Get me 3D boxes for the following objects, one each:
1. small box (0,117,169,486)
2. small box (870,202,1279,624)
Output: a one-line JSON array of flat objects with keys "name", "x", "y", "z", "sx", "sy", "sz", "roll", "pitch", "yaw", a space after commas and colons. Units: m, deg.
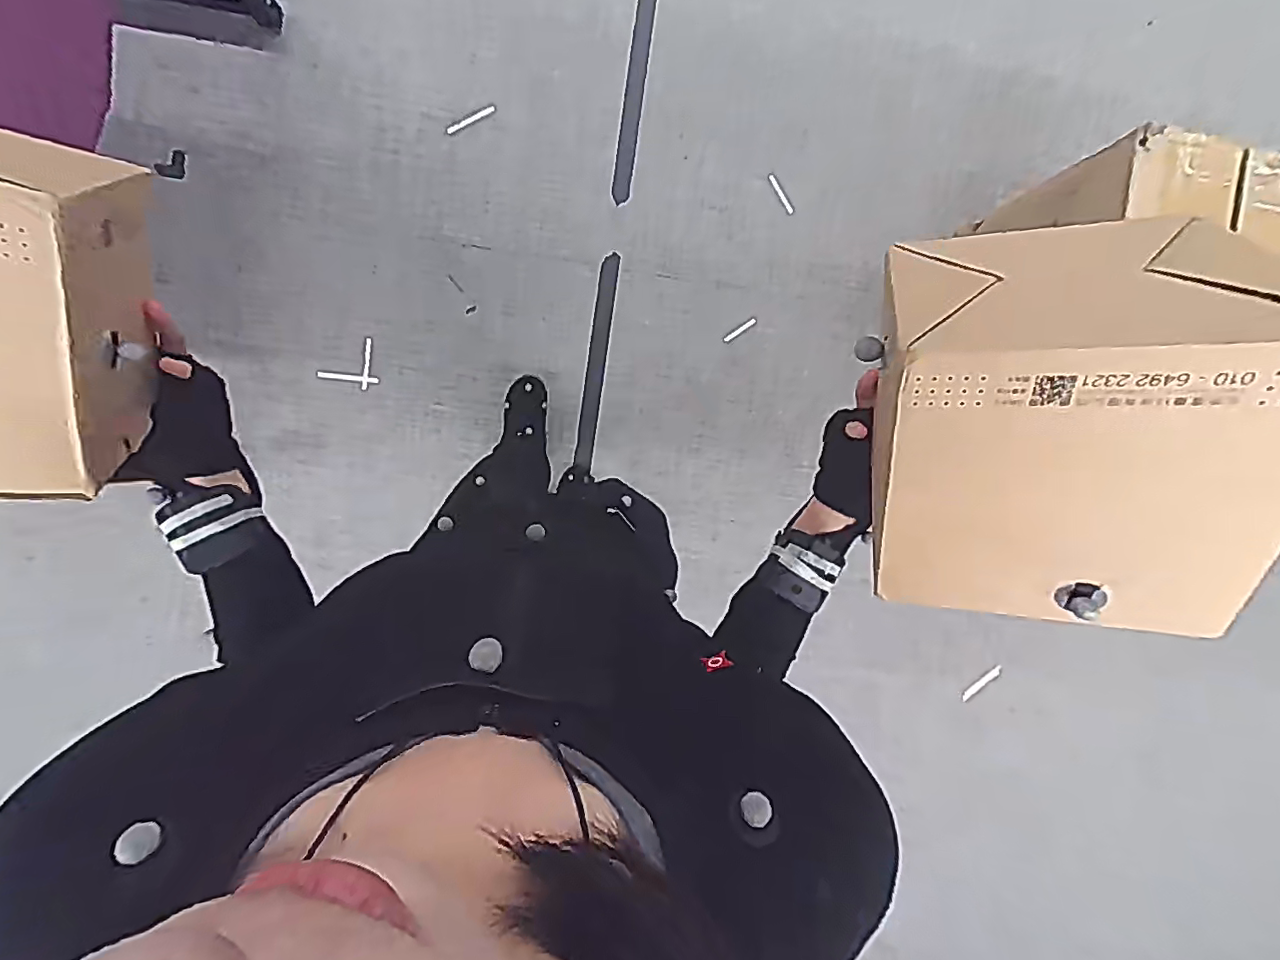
[{"name": "small box", "x": -0.392, "y": -0.113, "z": 0.293, "sx": 0.179, "sy": 0.168, "sz": 0.176, "roll": 4, "pitch": 117, "yaw": -30}, {"name": "small box", "x": 0.229, "y": -0.048, "z": 0.315, "sx": 0.168, "sy": 0.179, "sz": 0.176, "roll": 3, "pitch": 128, "yaw": 21}]
